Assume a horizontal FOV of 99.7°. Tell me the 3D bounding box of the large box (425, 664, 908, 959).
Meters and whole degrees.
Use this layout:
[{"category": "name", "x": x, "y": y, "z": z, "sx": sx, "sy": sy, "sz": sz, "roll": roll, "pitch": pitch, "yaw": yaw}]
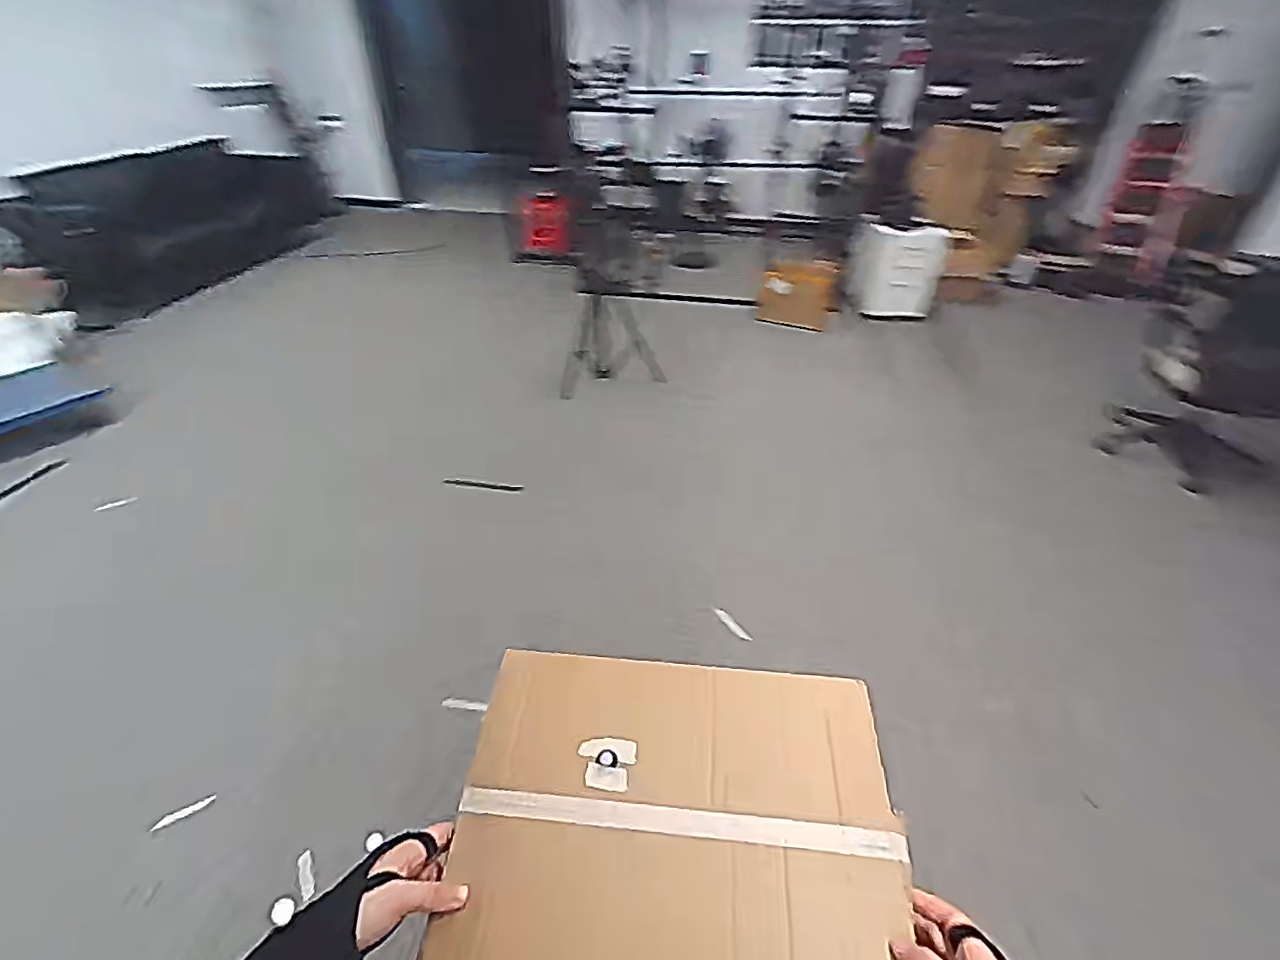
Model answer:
[{"category": "large box", "x": 0.035, "y": 0.429, "z": 0.616, "sx": 0.408, "sy": 0.320, "sz": 0.320, "roll": 1, "pitch": 45, "yaw": 6}]
